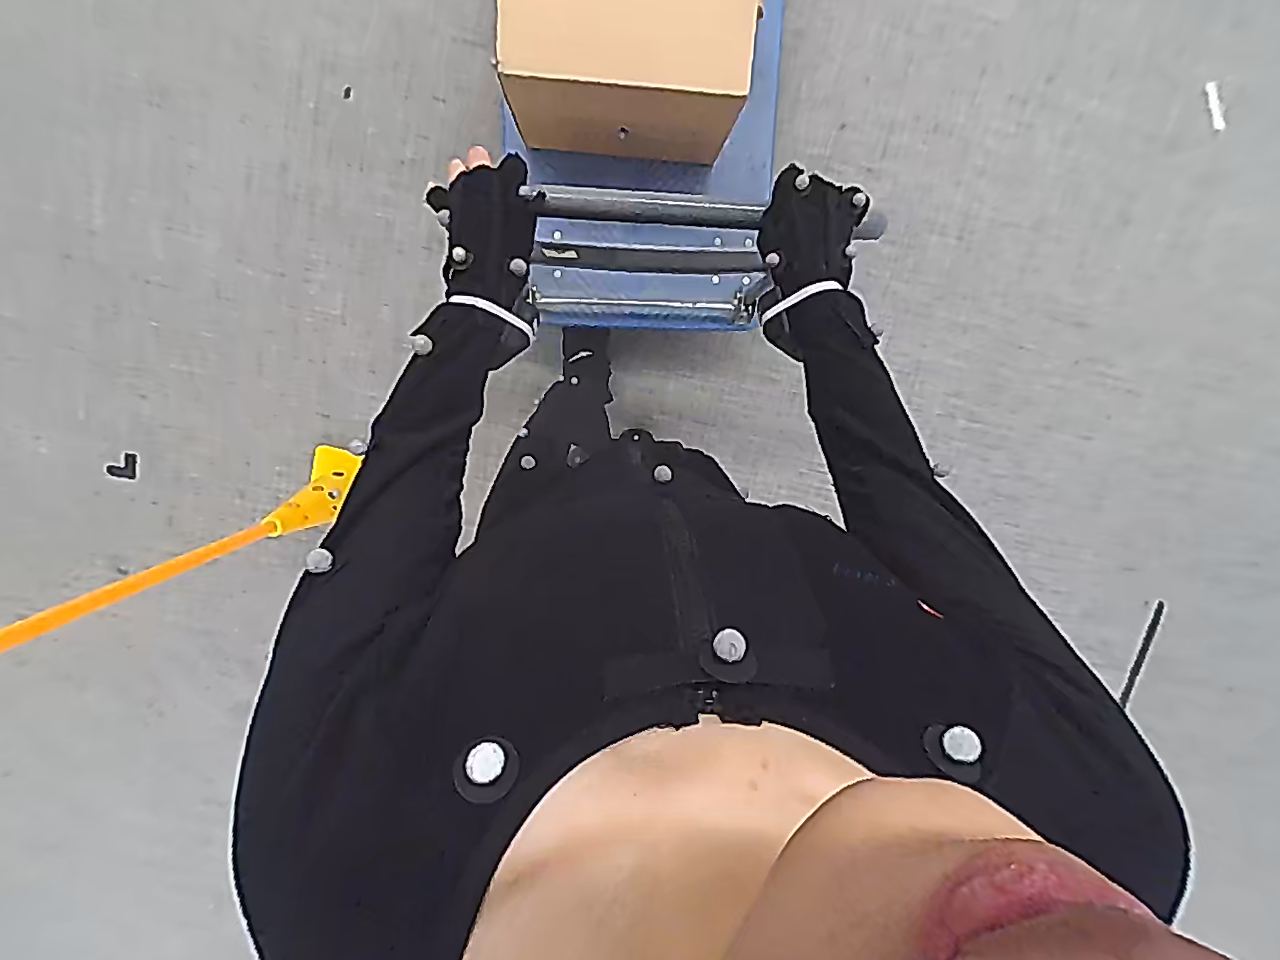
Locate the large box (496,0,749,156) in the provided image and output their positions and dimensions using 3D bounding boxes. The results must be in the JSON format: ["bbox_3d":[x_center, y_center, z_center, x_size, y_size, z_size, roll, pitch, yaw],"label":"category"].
[{"bbox_3d":[-0.028,-0.818,0.984,0.408,0.320,0.320,3,102,-3],"label":"large box"}]
